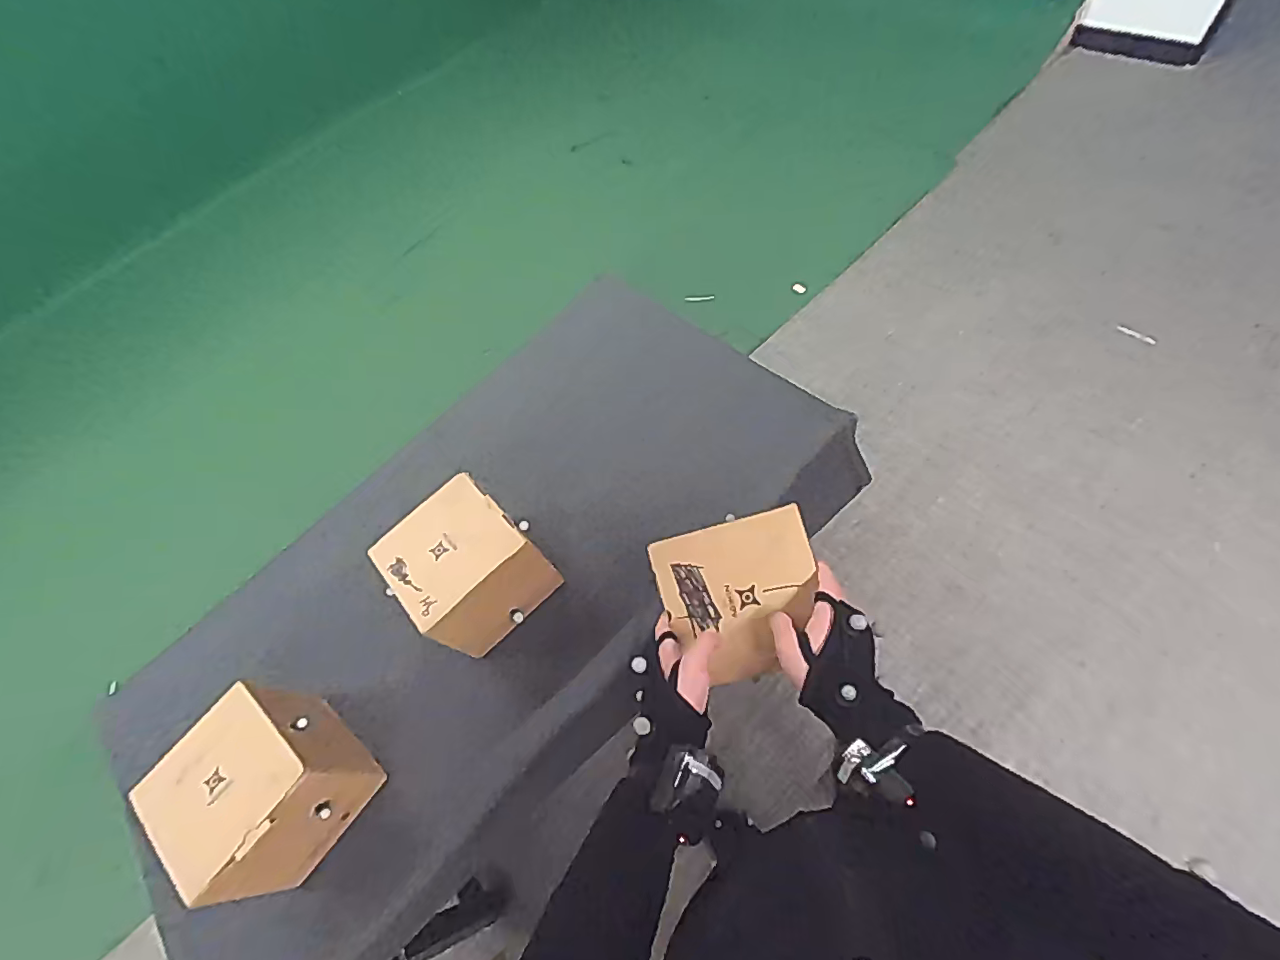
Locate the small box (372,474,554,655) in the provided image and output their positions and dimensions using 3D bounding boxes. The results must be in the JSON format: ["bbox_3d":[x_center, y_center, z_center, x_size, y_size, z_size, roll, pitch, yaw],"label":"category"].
[{"bbox_3d":[-0.248,0.130,0.807,0.179,0.176,0.168,-42,61,-12],"label":"small box"}]

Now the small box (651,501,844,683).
[{"bbox_3d":[0.132,0.135,0.662,0.179,0.176,0.168,-17,78,12],"label":"small box"}]

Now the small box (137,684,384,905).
[{"bbox_3d":[-0.481,0.400,0.710,0.179,0.176,0.168,29,69,27],"label":"small box"}]
